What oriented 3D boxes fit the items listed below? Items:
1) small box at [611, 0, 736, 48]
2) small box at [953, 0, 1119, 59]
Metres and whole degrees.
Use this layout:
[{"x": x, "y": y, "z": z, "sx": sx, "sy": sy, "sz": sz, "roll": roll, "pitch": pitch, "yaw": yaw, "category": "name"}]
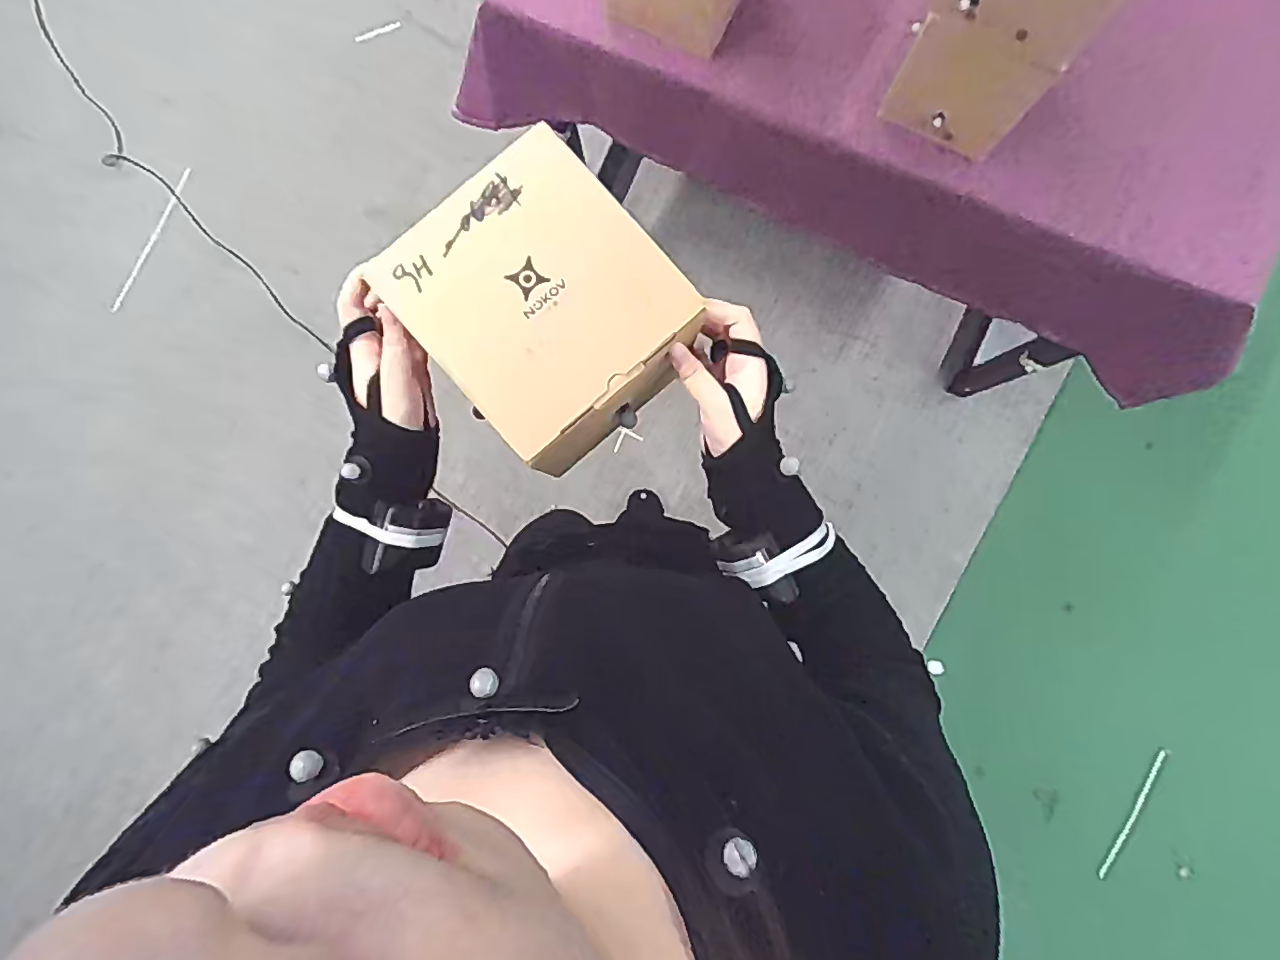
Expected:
[{"x": 0.063, "y": -0.740, "z": 0.727, "sx": 0.179, "sy": 0.176, "sz": 0.168, "roll": 27, "pitch": 88, "yaw": 4, "category": "small box"}, {"x": 0.443, "y": -0.580, "z": 0.534, "sx": 0.168, "sy": 0.176, "sz": 0.179, "roll": 30, "pitch": 89, "yaw": 4, "category": "small box"}]
